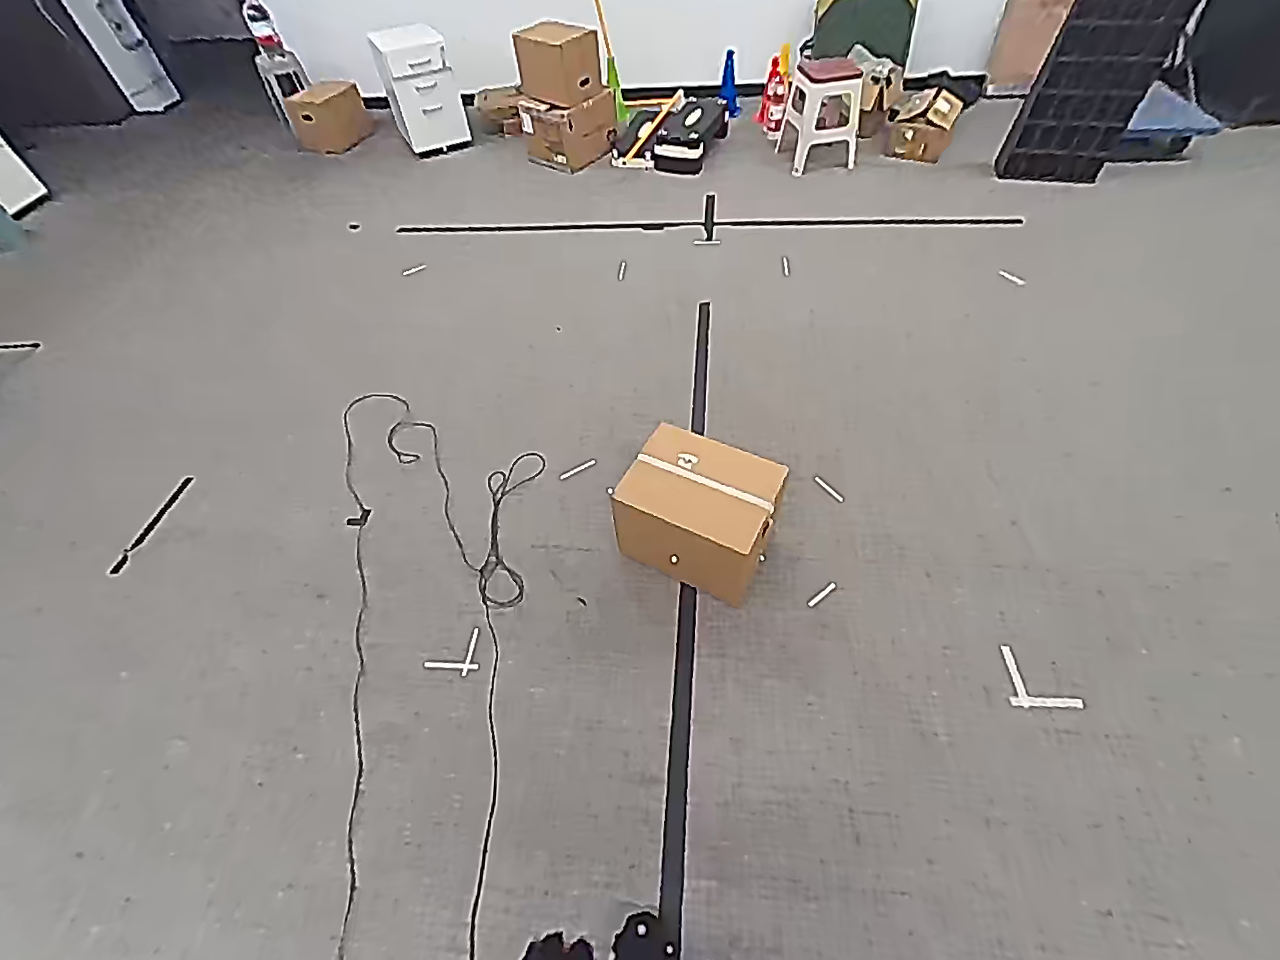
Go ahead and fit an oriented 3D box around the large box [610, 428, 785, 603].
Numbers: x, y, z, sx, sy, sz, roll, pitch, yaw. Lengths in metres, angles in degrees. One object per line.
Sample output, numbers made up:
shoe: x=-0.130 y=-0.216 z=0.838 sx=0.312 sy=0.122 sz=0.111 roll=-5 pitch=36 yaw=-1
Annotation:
large box: x=0.172 y=0.105 z=1.606 sx=0.408 sy=0.320 sz=0.320 roll=21 pitch=56 yaw=20
